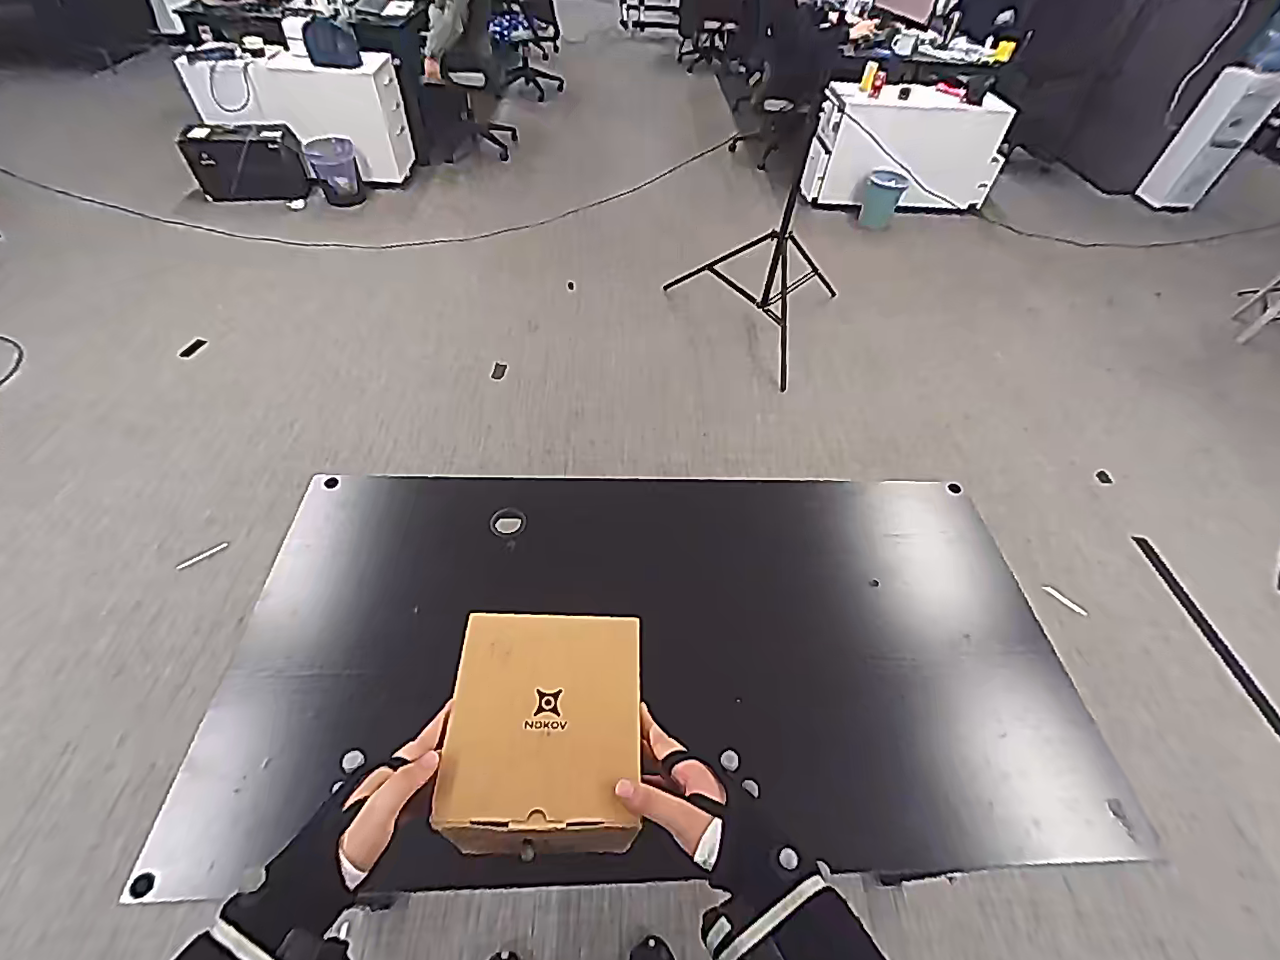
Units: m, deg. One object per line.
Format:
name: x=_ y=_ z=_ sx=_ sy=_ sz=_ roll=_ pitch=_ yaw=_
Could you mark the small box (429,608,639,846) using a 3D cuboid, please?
small box: x=-0.091 y=0.247 z=0.535 sx=0.168 sy=0.176 sz=0.179 roll=3 pitch=51 yaw=-4
